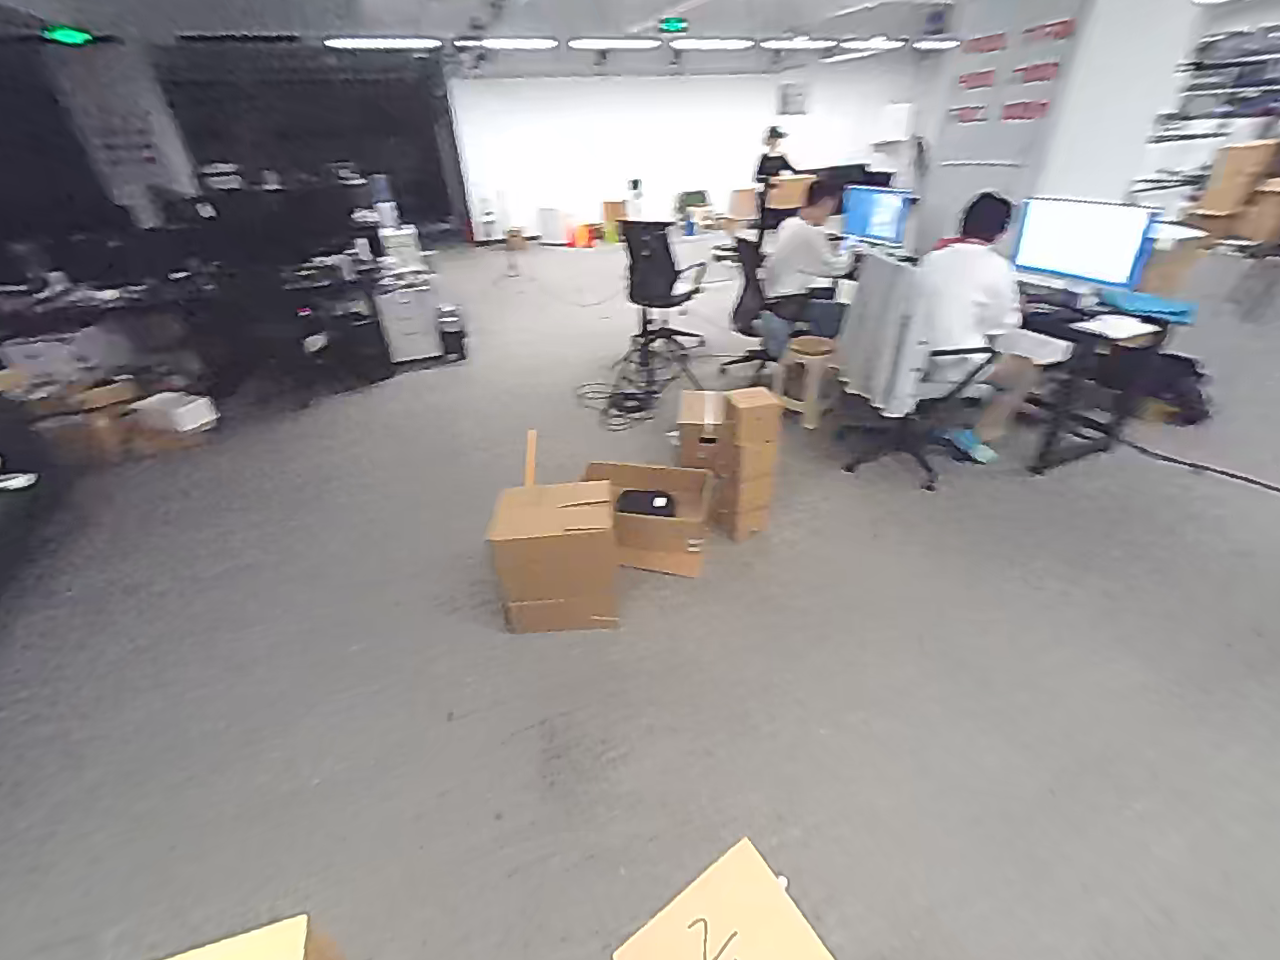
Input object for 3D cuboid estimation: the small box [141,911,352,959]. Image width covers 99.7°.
[{"bbox_3d":[-0.352,0.517,0.460,0.168,0.176,0.179,-6,41,-17],"label":"small box"}]
